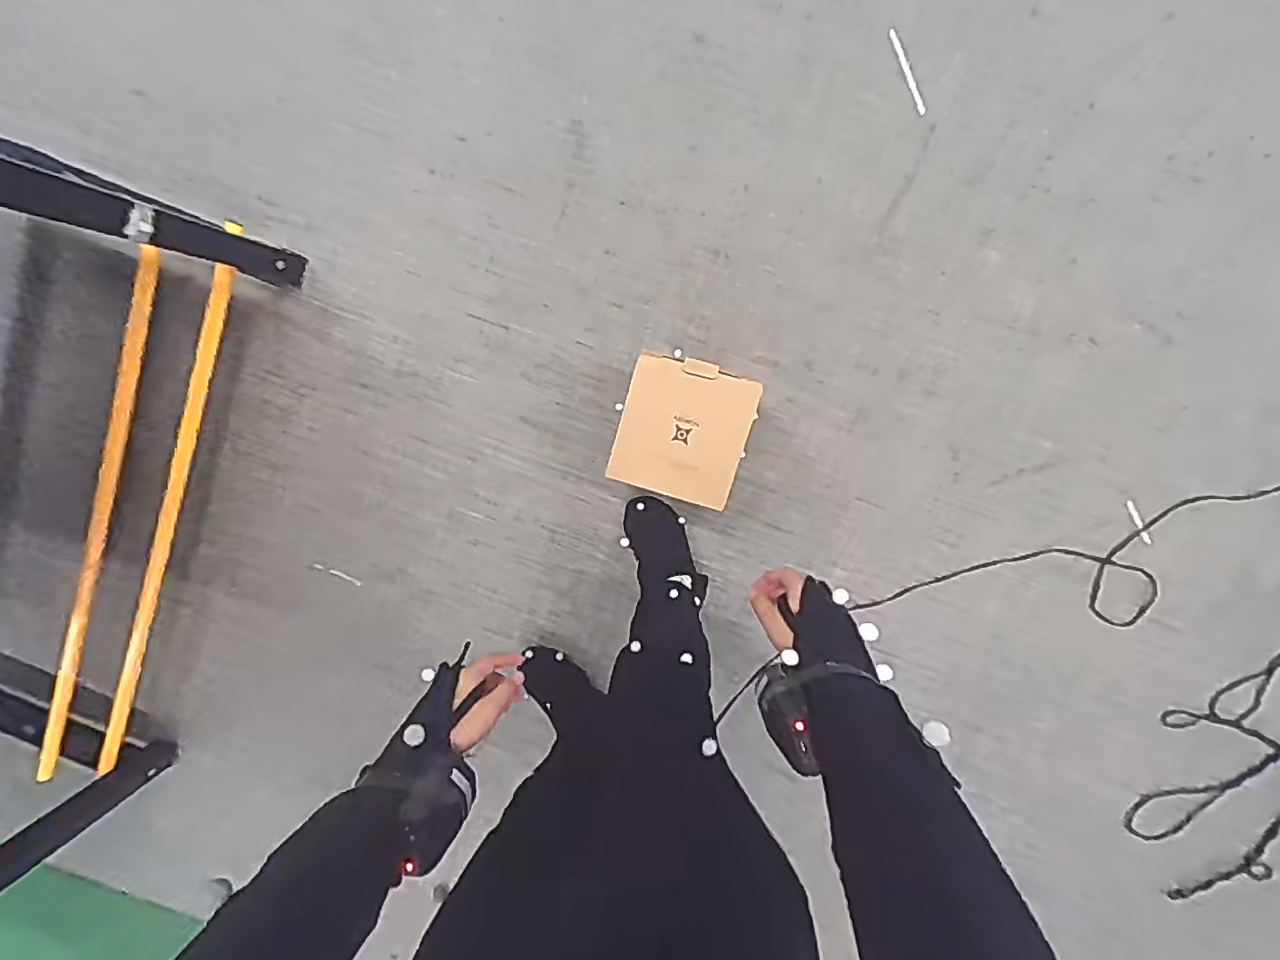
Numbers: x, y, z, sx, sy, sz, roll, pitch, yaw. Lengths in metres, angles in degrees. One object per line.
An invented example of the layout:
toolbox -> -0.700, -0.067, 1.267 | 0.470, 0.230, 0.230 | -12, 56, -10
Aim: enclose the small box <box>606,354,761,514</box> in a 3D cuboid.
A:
small box -> 0.060, -0.071, 0.781 | 0.168, 0.176, 0.179 | 16, 101, 3
